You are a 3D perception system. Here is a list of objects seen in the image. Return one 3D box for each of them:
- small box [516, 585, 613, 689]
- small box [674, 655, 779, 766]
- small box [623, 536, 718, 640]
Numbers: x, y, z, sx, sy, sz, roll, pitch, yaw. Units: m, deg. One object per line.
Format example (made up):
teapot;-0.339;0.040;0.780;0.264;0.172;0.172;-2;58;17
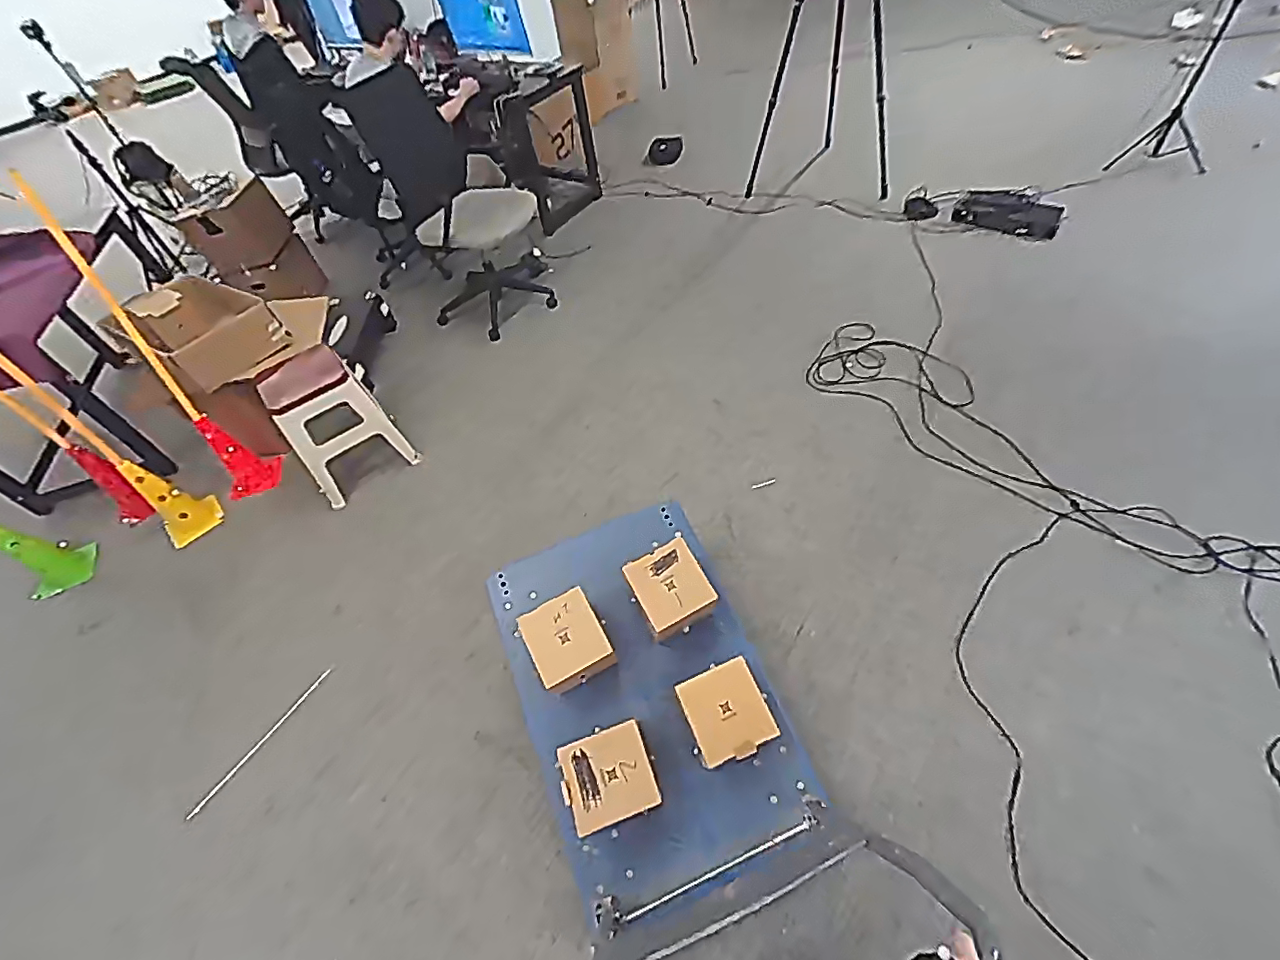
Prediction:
small box;-0.171;0.379;1.283;0.168;0.176;0.179;-26;67;-12
small box;0.183;0.517;1.213;0.168;0.176;0.179;-22;66;-9
small box;0.070;0.270;1.331;0.168;0.176;0.179;-26;67;-10
